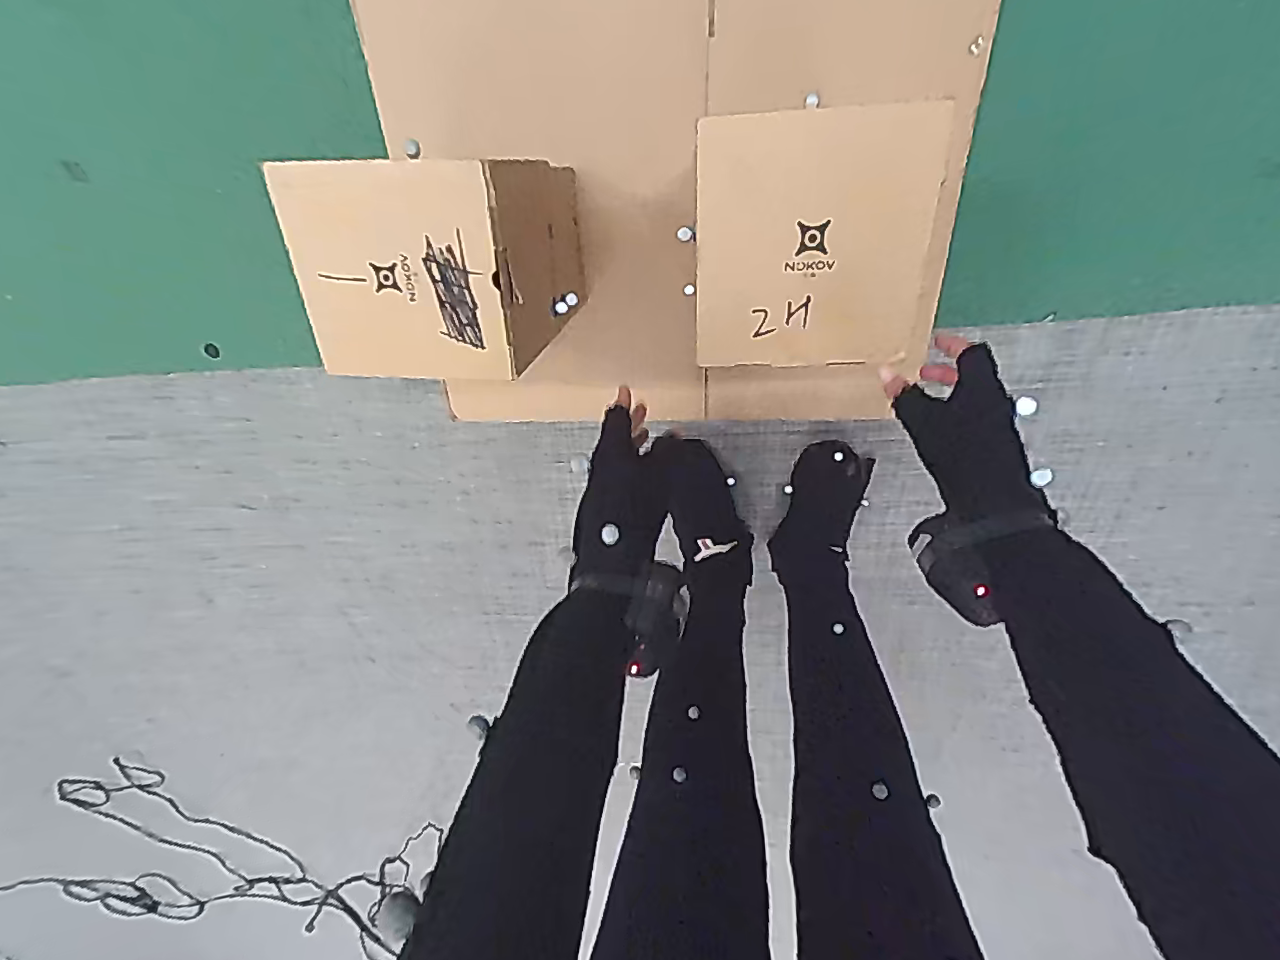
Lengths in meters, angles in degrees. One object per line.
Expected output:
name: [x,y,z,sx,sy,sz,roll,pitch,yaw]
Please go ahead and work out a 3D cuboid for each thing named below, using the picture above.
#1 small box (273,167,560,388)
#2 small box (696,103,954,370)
small box: [-0.178,-0.194,0.500,0.179,0.176,0.168,4,120,7]
small box: [0.132,-0.204,0.463,0.168,0.176,0.179,1,120,7]
